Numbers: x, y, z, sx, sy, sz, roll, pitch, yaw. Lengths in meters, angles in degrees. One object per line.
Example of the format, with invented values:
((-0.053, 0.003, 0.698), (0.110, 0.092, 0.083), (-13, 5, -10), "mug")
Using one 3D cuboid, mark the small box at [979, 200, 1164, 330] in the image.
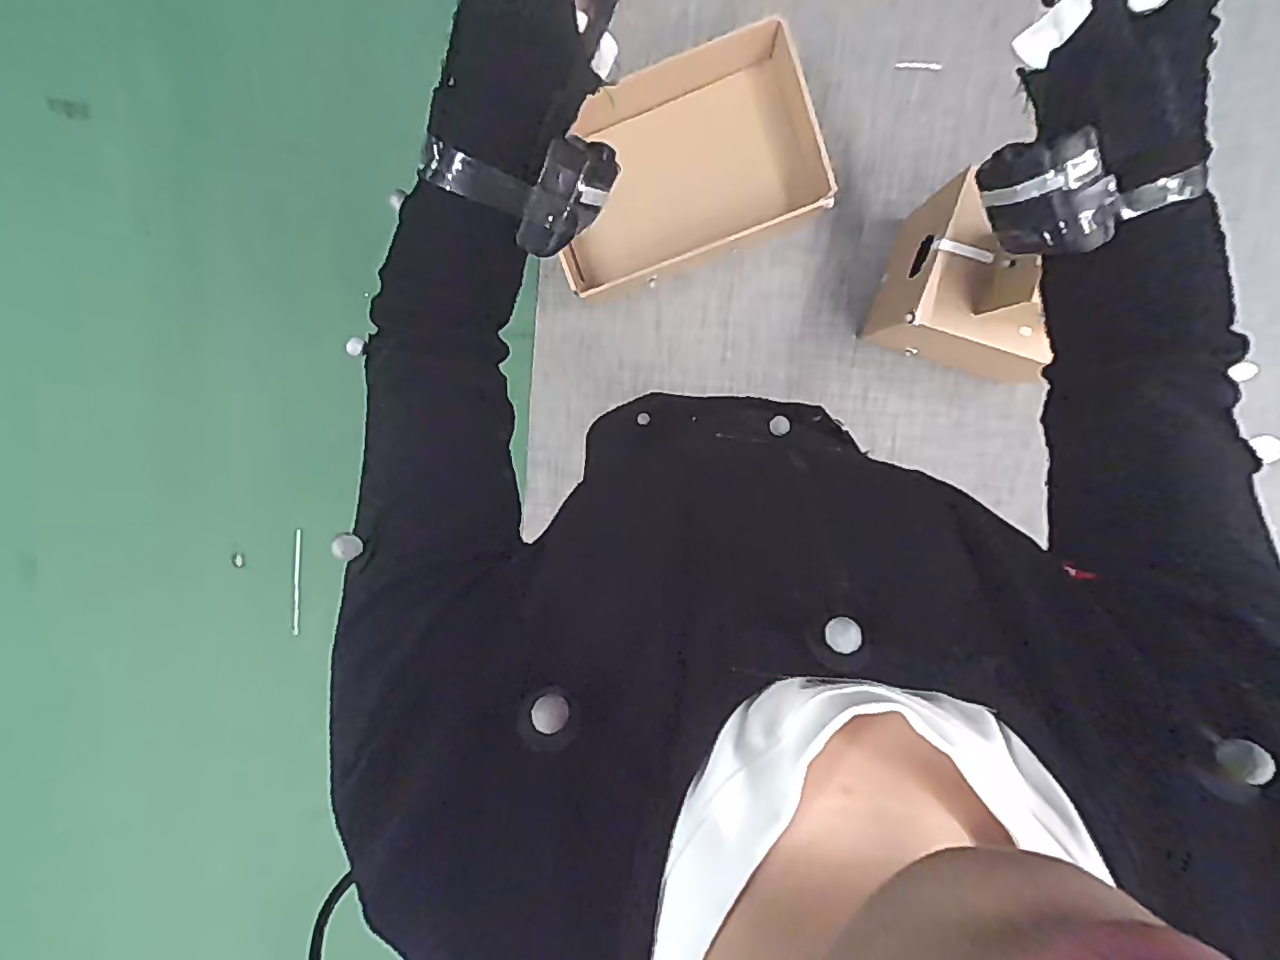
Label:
((0.753, -0.373, 0.968), (0.179, 0.176, 0.168), (12, 99, 3), "small box")
